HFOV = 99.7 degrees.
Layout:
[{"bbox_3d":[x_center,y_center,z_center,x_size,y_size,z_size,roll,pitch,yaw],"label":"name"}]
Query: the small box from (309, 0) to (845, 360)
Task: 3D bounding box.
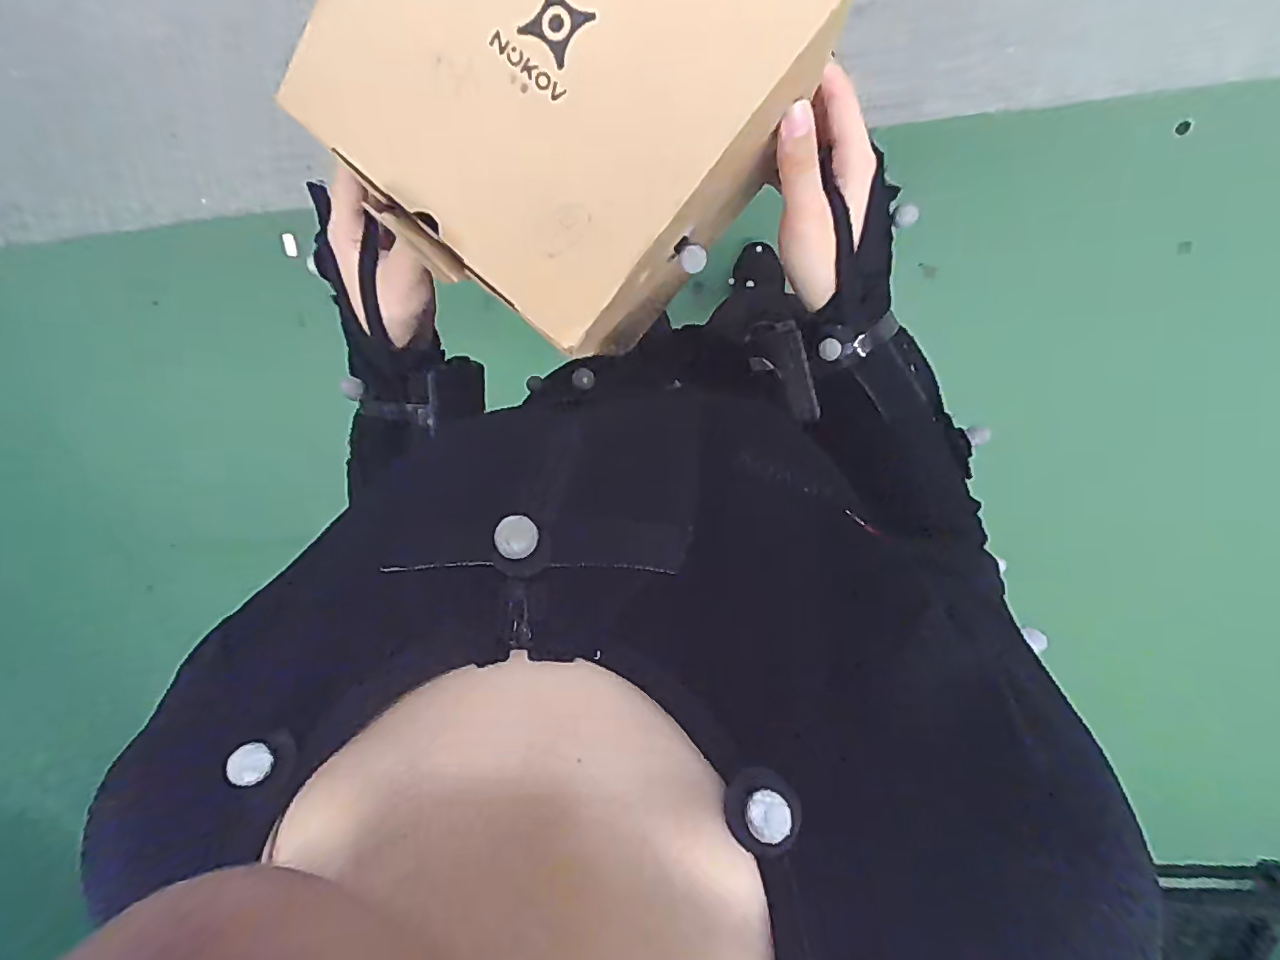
[{"bbox_3d":[-0.023,-0.185,0.299,0.168,0.176,0.179,41,105,-3],"label":"small box"}]
